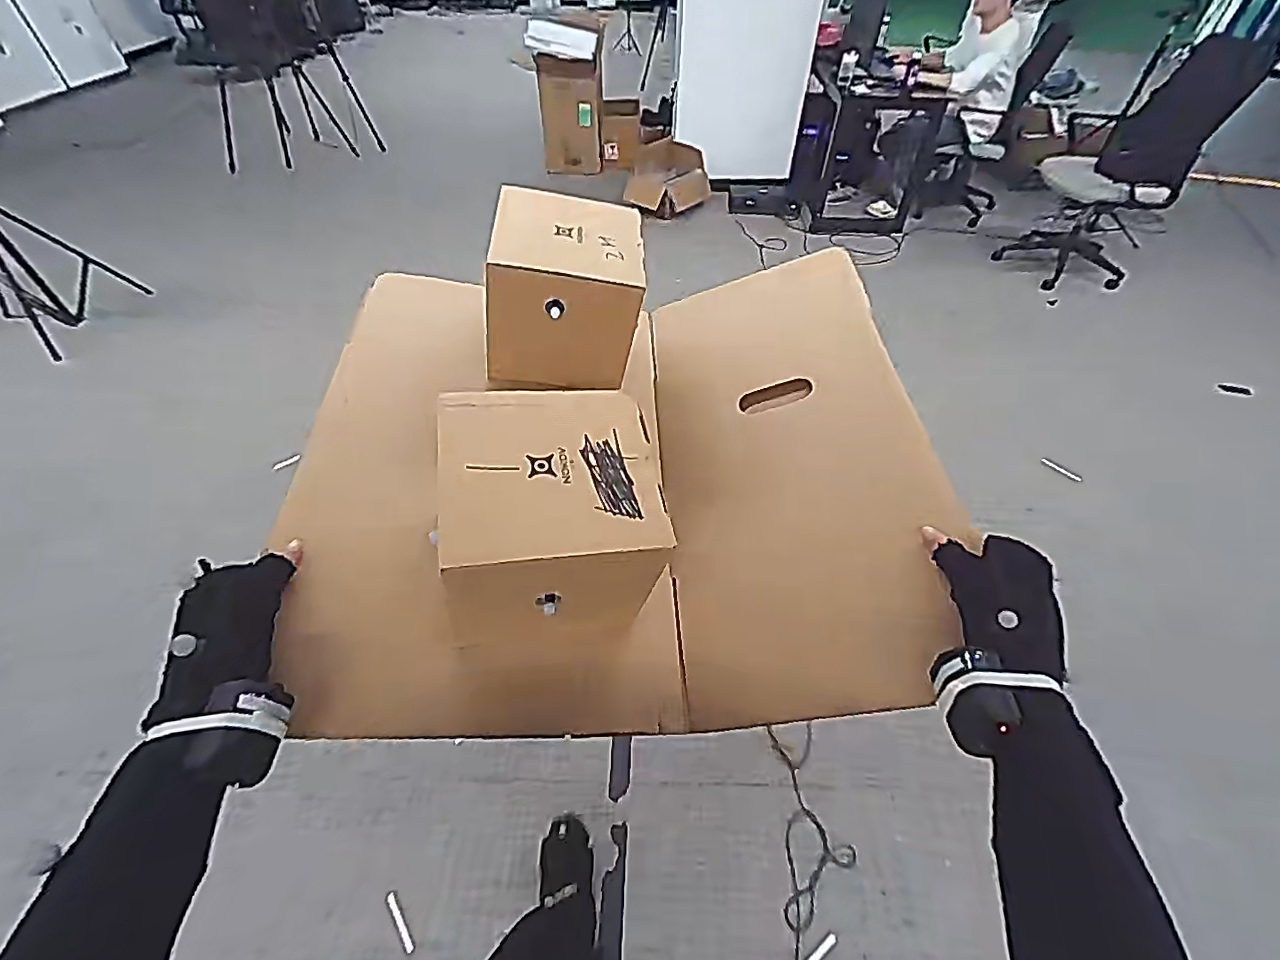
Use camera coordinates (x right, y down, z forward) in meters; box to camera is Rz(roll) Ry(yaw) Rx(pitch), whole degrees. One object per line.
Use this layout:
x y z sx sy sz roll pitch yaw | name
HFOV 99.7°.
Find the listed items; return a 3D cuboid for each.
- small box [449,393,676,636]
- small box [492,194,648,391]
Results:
-0.084 0.035 0.513 0.179 0.176 0.168 -3 56 -16 | small box
-0.093 -0.236 0.706 0.179 0.176 0.168 6 54 -11 | small box
